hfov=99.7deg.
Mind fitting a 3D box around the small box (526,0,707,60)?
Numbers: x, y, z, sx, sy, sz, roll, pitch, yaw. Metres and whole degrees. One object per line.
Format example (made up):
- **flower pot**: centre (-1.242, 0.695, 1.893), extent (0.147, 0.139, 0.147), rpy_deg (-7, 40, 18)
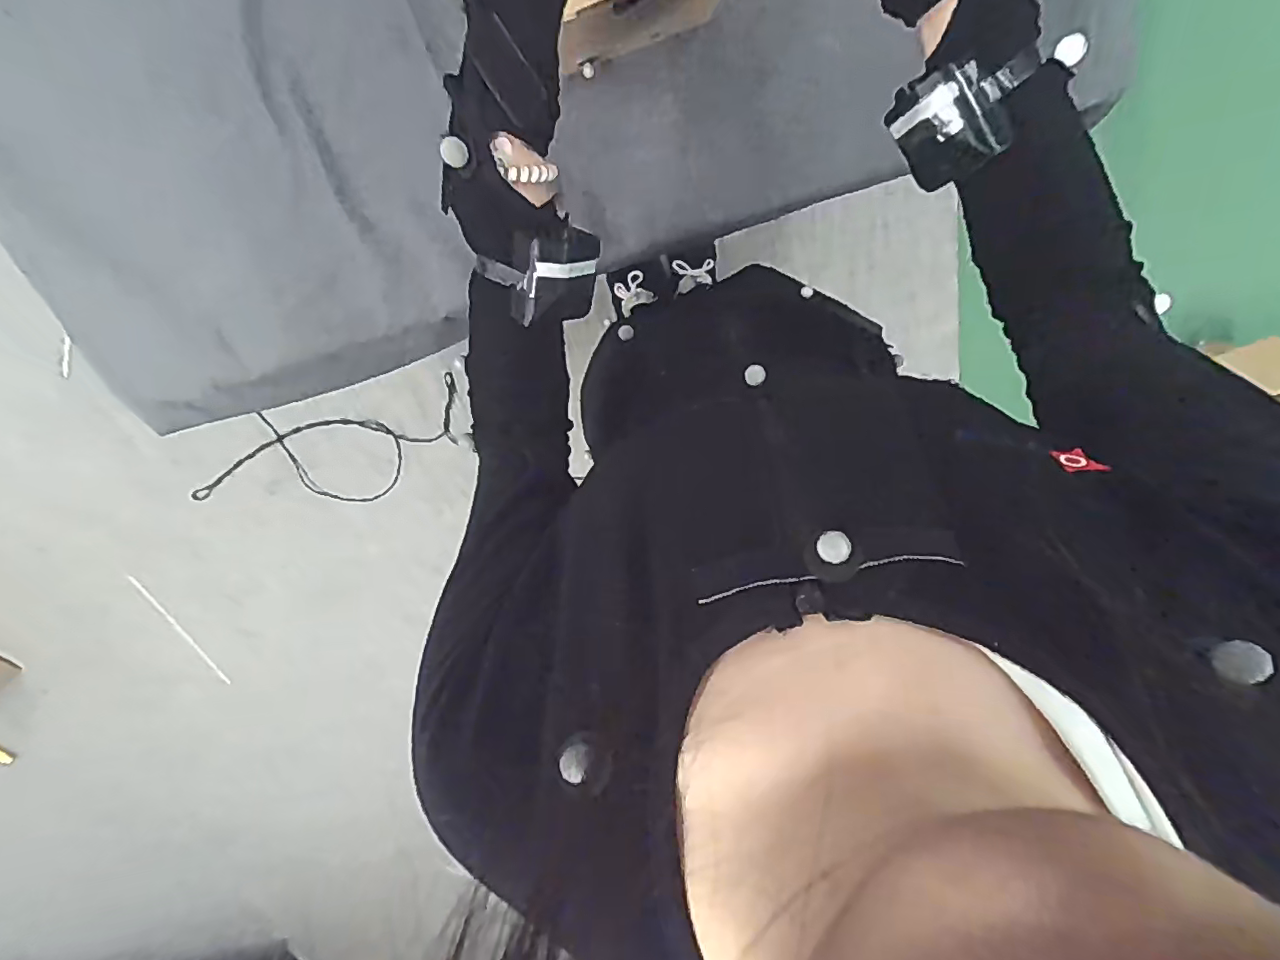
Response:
- **small box**: centre (-0.032, -0.483, 0.445), extent (0.168, 0.176, 0.179), rpy_deg (-17, 115, 6)
